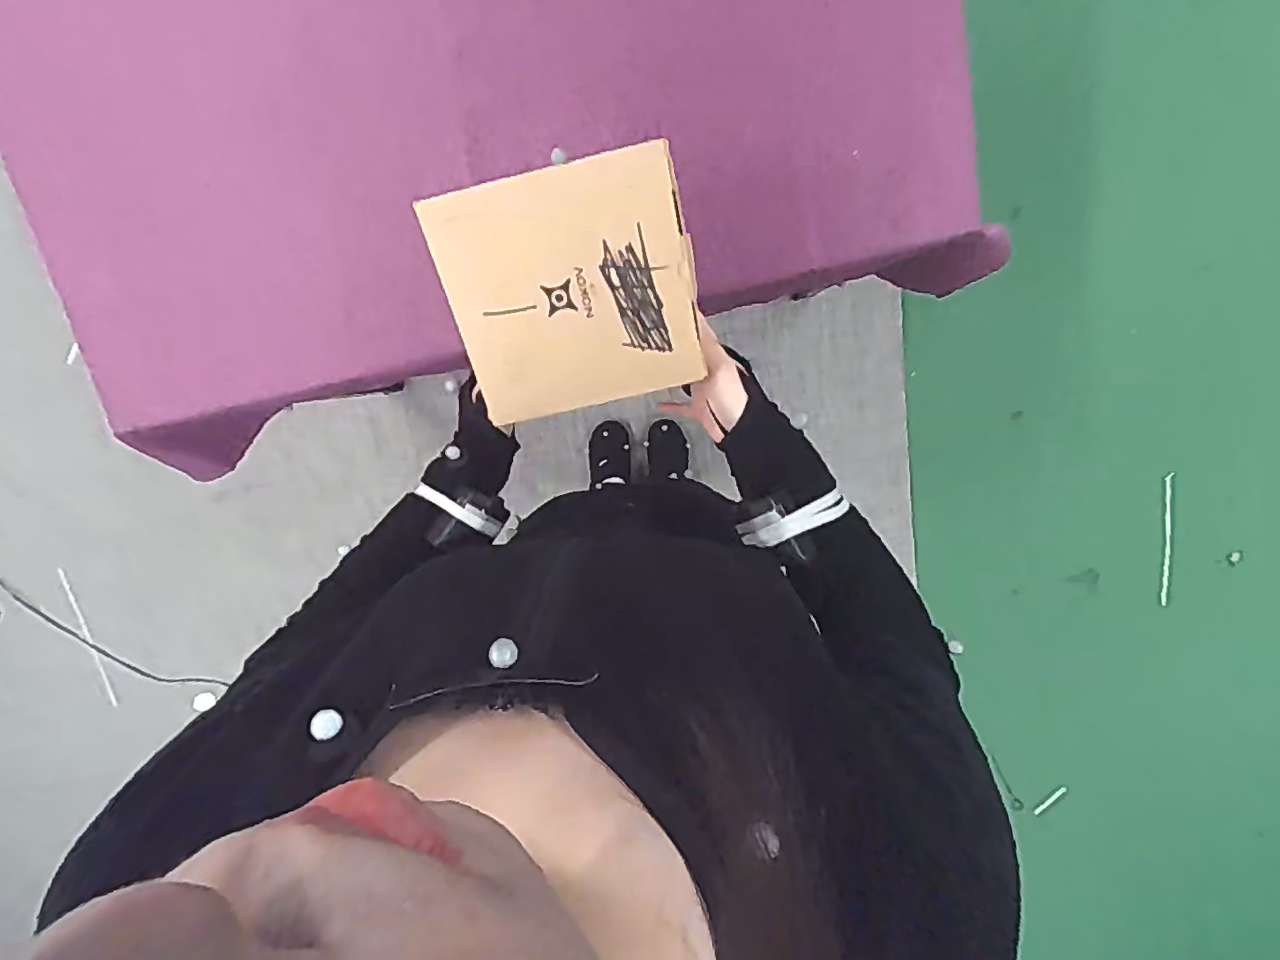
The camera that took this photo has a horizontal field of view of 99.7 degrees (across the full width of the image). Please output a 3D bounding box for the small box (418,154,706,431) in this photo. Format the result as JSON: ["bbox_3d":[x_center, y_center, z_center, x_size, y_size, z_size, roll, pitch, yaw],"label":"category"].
[{"bbox_3d":[-0.051,-0.161,0.460,0.179,0.176,0.168,-11,115,4],"label":"small box"}]
